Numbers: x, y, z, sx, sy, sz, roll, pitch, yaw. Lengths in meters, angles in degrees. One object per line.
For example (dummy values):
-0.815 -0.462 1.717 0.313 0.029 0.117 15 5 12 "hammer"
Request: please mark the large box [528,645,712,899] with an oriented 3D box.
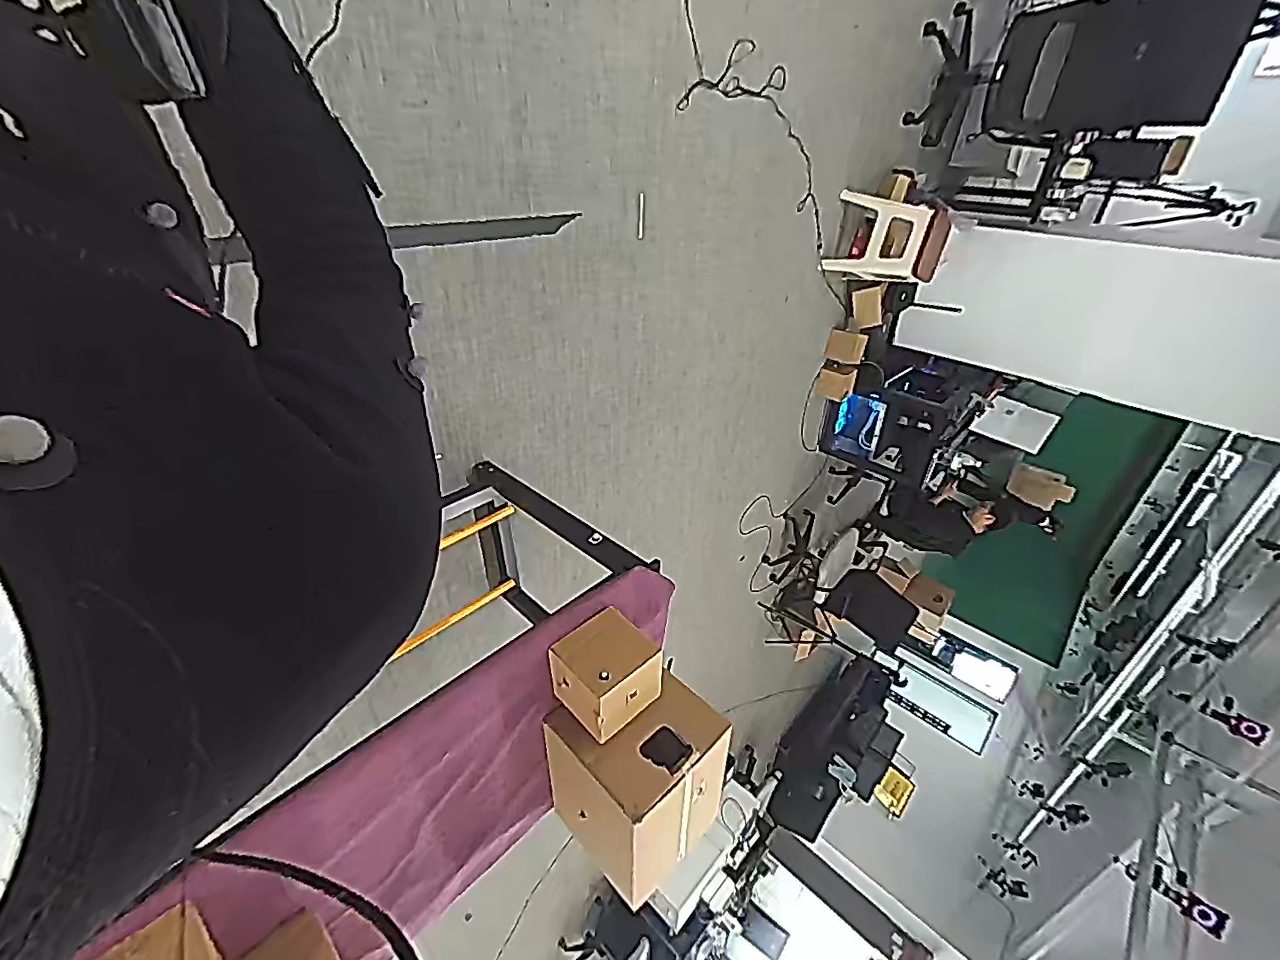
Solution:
-0.047 0.701 1.333 0.320 0.320 0.408 -28 131 -37 "large box"
